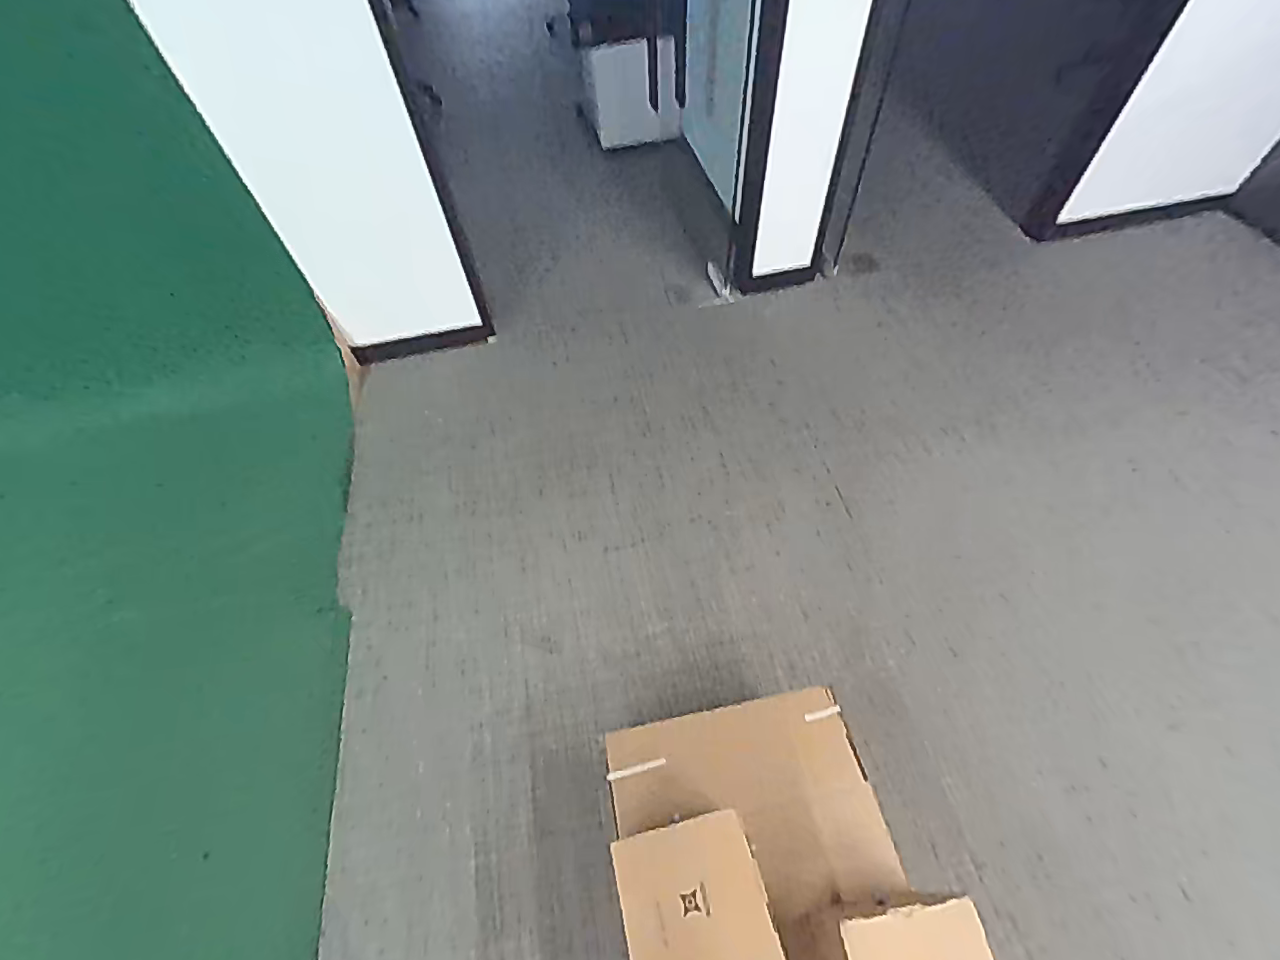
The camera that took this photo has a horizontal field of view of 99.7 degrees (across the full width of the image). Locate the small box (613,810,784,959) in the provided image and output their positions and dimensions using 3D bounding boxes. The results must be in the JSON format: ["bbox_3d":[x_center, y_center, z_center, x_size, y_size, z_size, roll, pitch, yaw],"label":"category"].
[{"bbox_3d":[0.070,0.559,0.719,0.179,0.176,0.168,-13,53,-4],"label":"small box"}]

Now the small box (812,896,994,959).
[{"bbox_3d":[0.324,0.623,0.651,0.168,0.176,0.179,-8,53,-3],"label":"small box"}]
